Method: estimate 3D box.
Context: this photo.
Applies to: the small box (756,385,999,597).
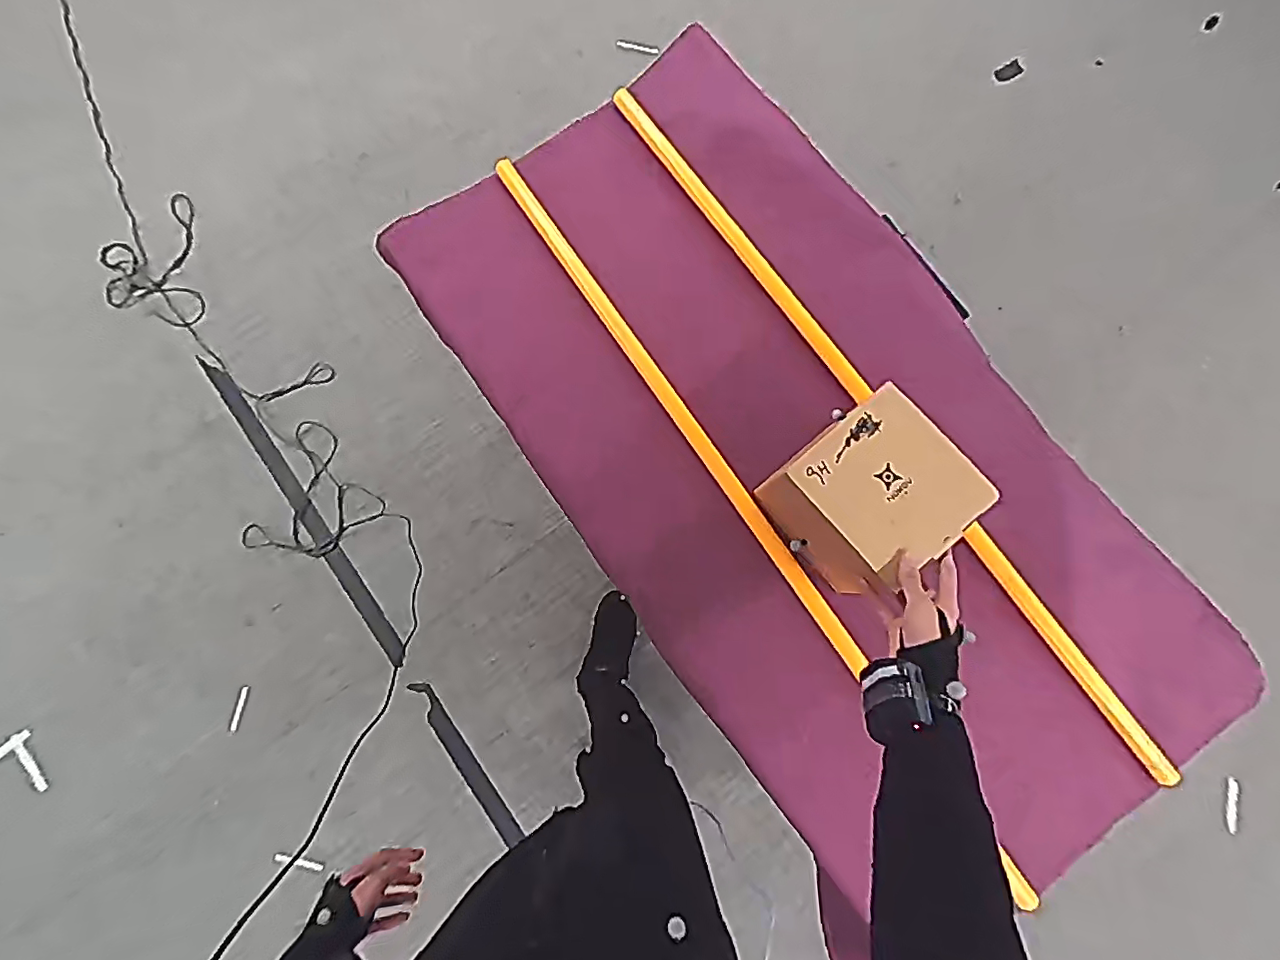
[{"bbox_3d":[0.271,0.020,0.661,0.168,0.176,0.179,-39,83,-7],"label":"small box"}]
